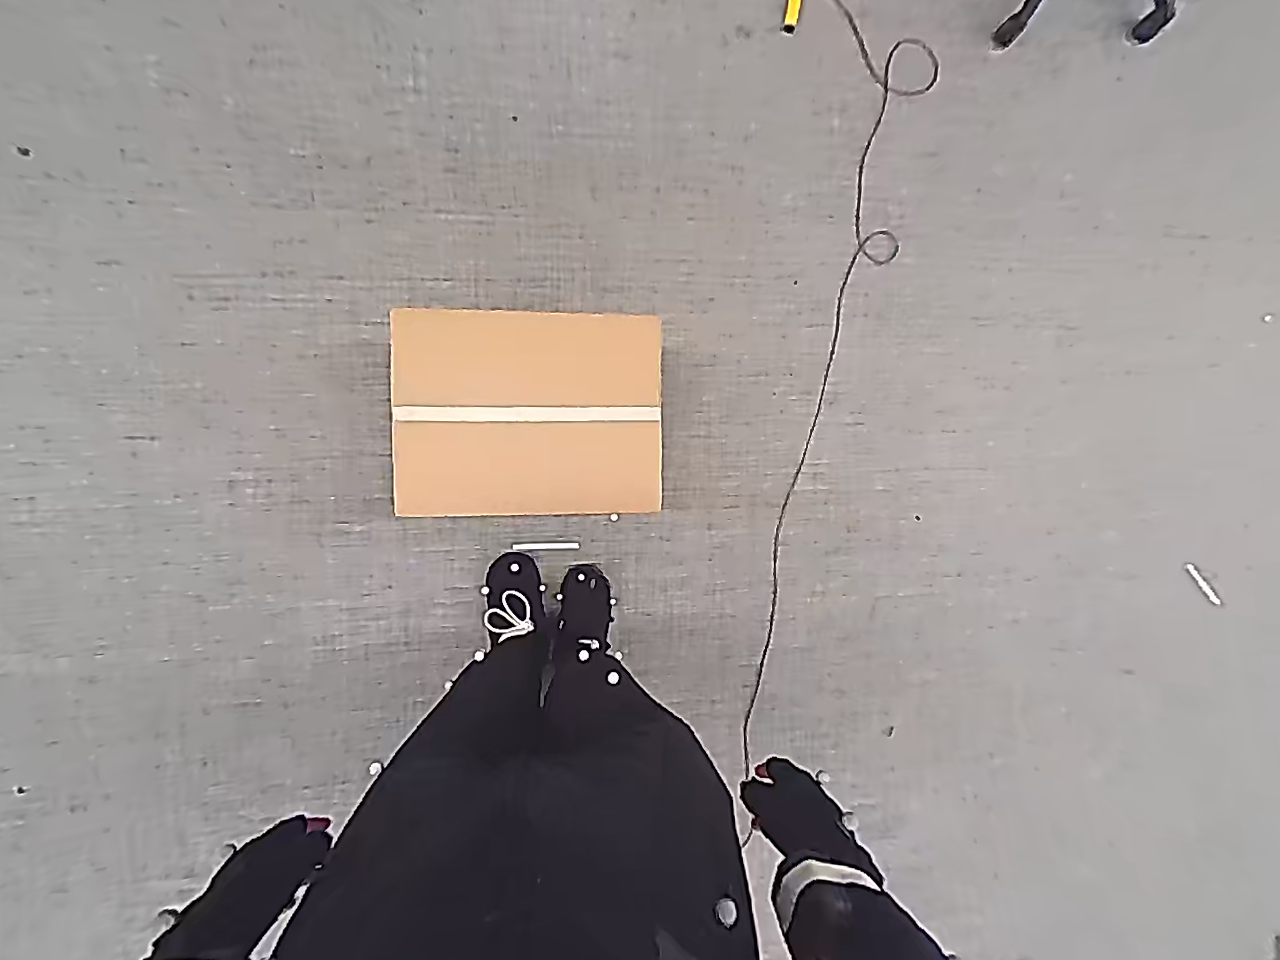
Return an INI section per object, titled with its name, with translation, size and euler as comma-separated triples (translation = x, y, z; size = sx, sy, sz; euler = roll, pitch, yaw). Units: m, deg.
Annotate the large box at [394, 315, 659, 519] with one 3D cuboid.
[large box]
translation = -0.187, -0.103, 0.983
size = 0.408, 0.320, 0.320
euler = -1, 91, -8
